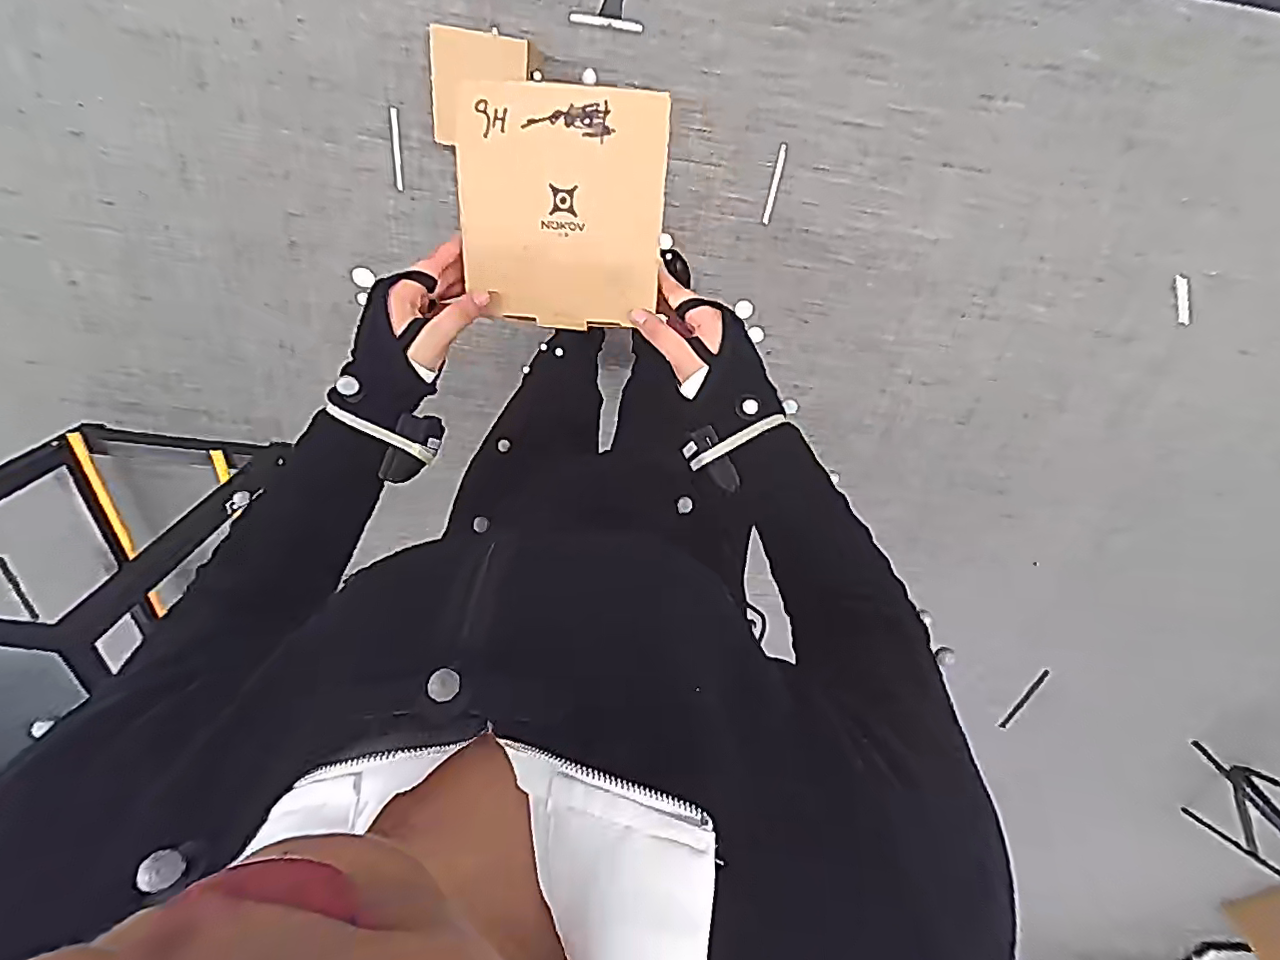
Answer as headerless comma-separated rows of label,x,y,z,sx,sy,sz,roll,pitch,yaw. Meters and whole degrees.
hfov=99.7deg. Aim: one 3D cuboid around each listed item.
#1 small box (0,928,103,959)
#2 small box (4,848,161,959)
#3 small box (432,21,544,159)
small box,-1.336,1.111,1.172,0.168,0.176,0.179,7,123,-2
small box,-1.333,1.021,1.310,0.179,0.176,0.168,7,124,-4
small box,-0.278,-0.720,1.012,0.168,0.176,0.179,9,123,-3
